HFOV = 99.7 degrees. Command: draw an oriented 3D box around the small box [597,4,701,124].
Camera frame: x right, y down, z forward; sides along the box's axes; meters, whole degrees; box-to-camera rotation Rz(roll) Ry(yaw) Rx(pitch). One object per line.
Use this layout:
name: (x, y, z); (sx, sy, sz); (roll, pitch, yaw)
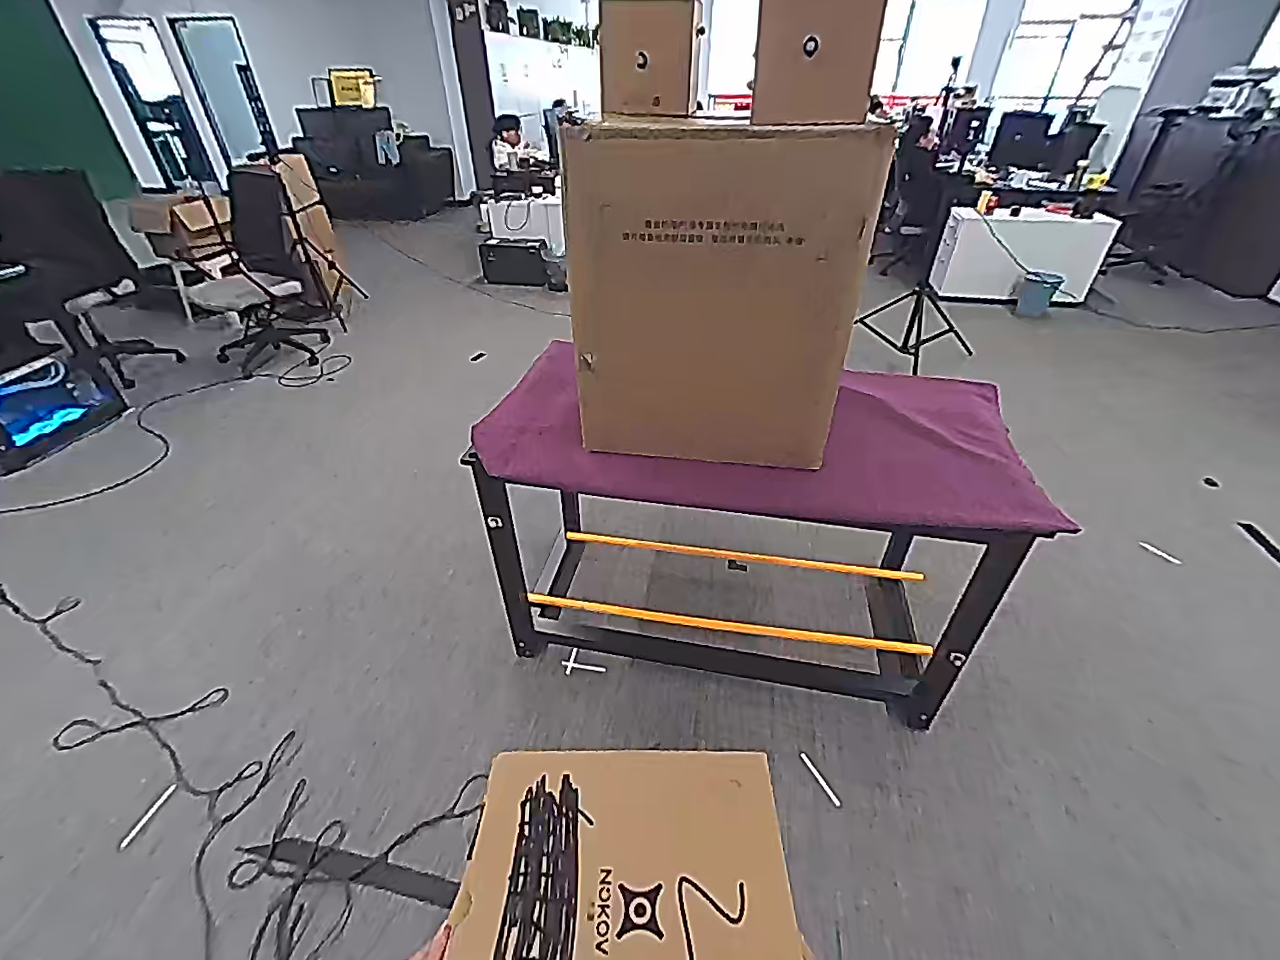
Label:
small box: (0.022, -0.776, 1.018); (0.168, 0.176, 0.179); (7, 37, 7)
